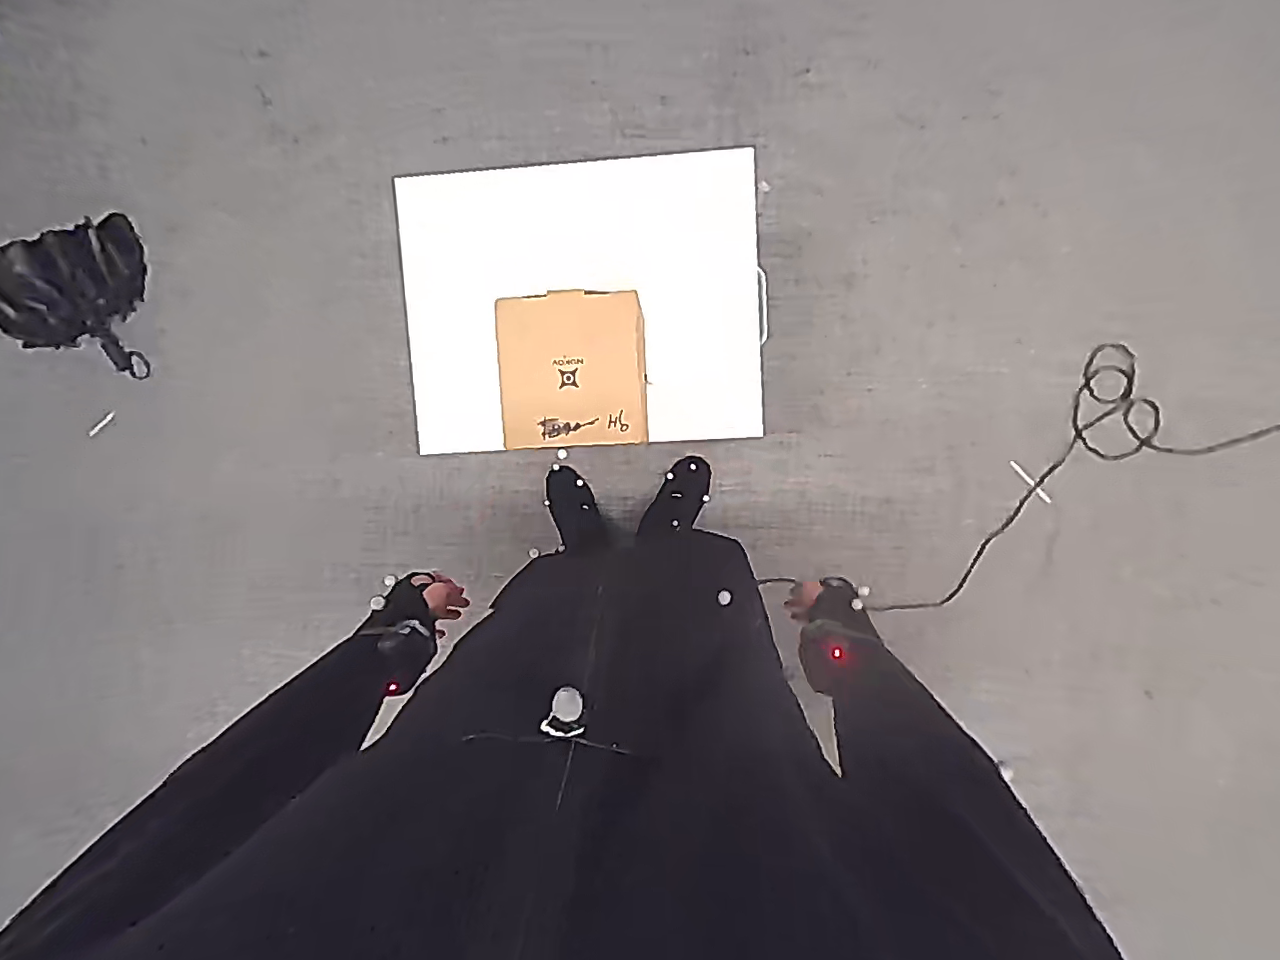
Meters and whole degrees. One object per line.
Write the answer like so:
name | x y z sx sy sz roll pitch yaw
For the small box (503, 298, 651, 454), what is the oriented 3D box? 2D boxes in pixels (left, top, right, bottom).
small box | -0.073 -0.124 0.707 0.168 0.176 0.179 -2 93 4
